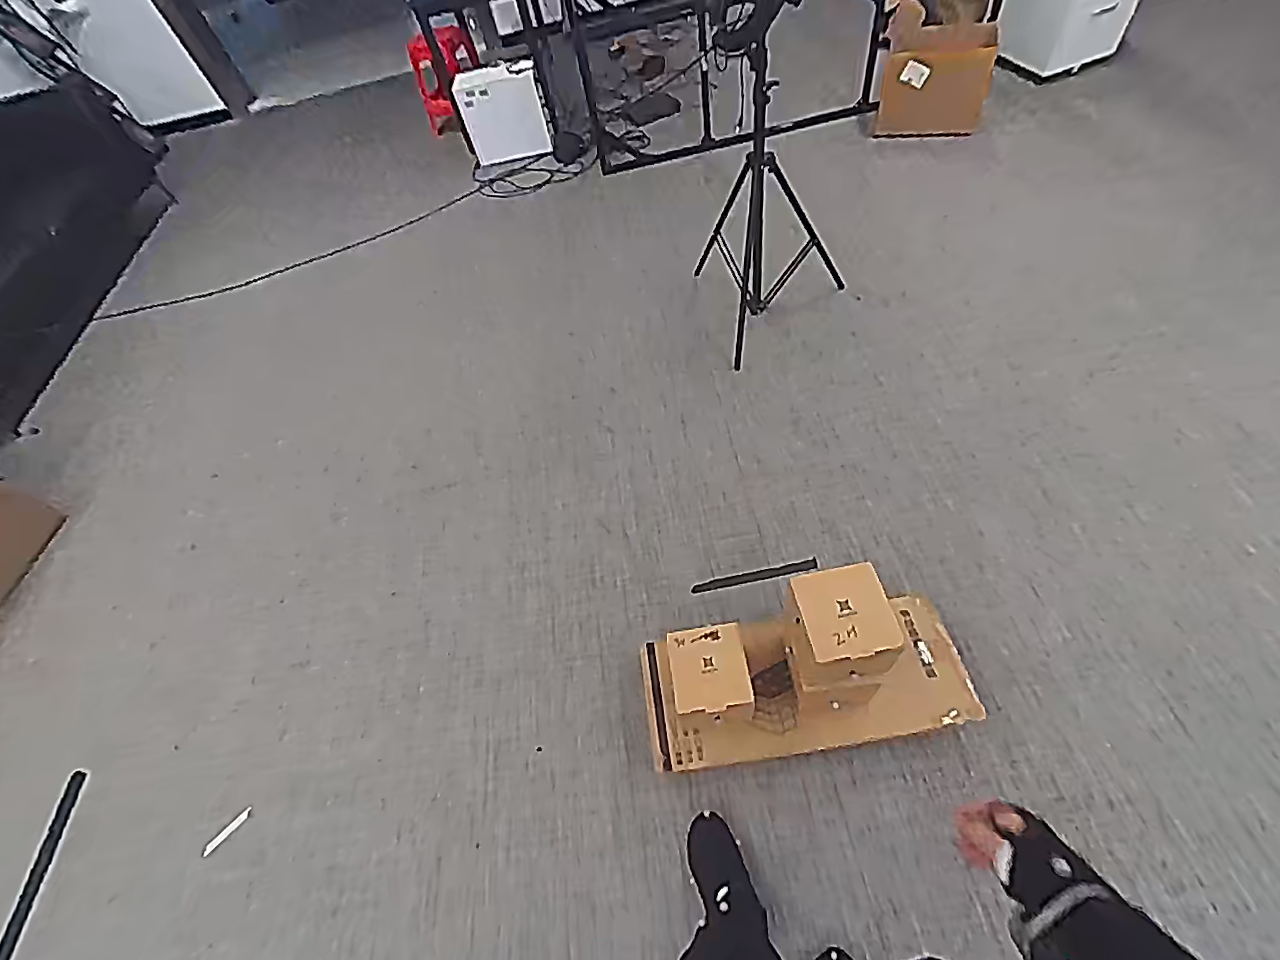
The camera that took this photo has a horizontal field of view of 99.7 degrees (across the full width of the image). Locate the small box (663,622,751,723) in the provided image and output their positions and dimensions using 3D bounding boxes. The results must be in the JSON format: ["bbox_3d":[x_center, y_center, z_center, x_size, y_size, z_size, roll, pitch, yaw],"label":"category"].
[{"bbox_3d":[0.155,0.445,1.232,0.168,0.176,0.179,-11,56,5],"label":"small box"}]

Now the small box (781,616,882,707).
[{"bbox_3d":[0.419,0.396,1.217,0.168,0.176,0.179,-9,56,6],"label":"small box"}]

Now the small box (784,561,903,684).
[{"bbox_3d":[0.396,0.290,1.090,0.168,0.176,0.179,-12,55,3],"label":"small box"}]
